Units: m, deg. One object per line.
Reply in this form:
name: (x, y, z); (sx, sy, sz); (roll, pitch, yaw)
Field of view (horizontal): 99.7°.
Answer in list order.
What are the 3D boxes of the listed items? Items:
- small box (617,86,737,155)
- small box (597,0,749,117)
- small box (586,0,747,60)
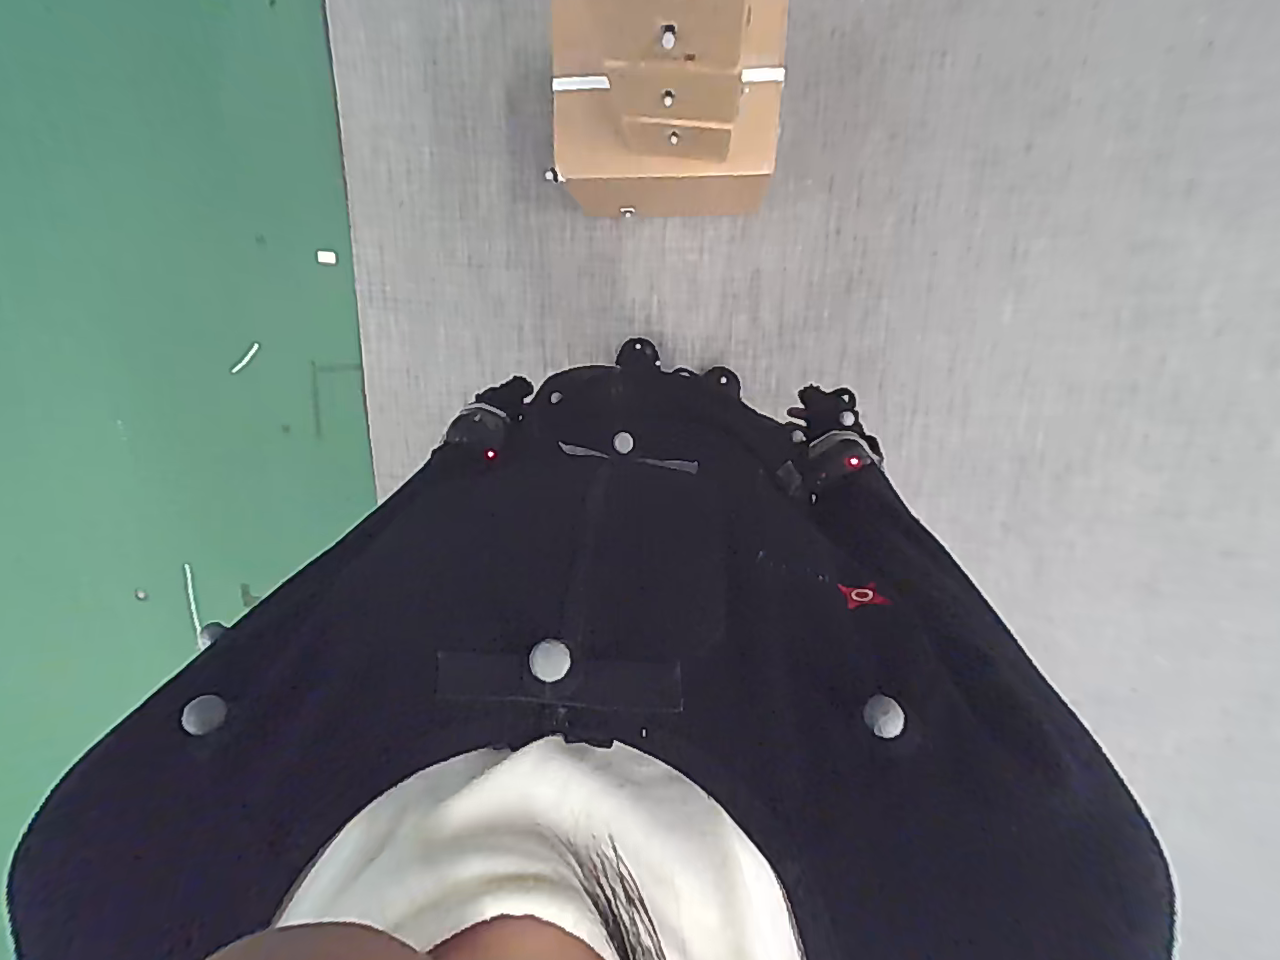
small box: (0.068, -0.647, 0.876); (0.179, 0.176, 0.168); (8, 107, 3)
small box: (0.052, -0.608, 0.719); (0.179, 0.176, 0.168); (8, 107, 7)
small box: (0.036, -0.573, 0.559); (0.168, 0.176, 0.179); (8, 107, 5)
